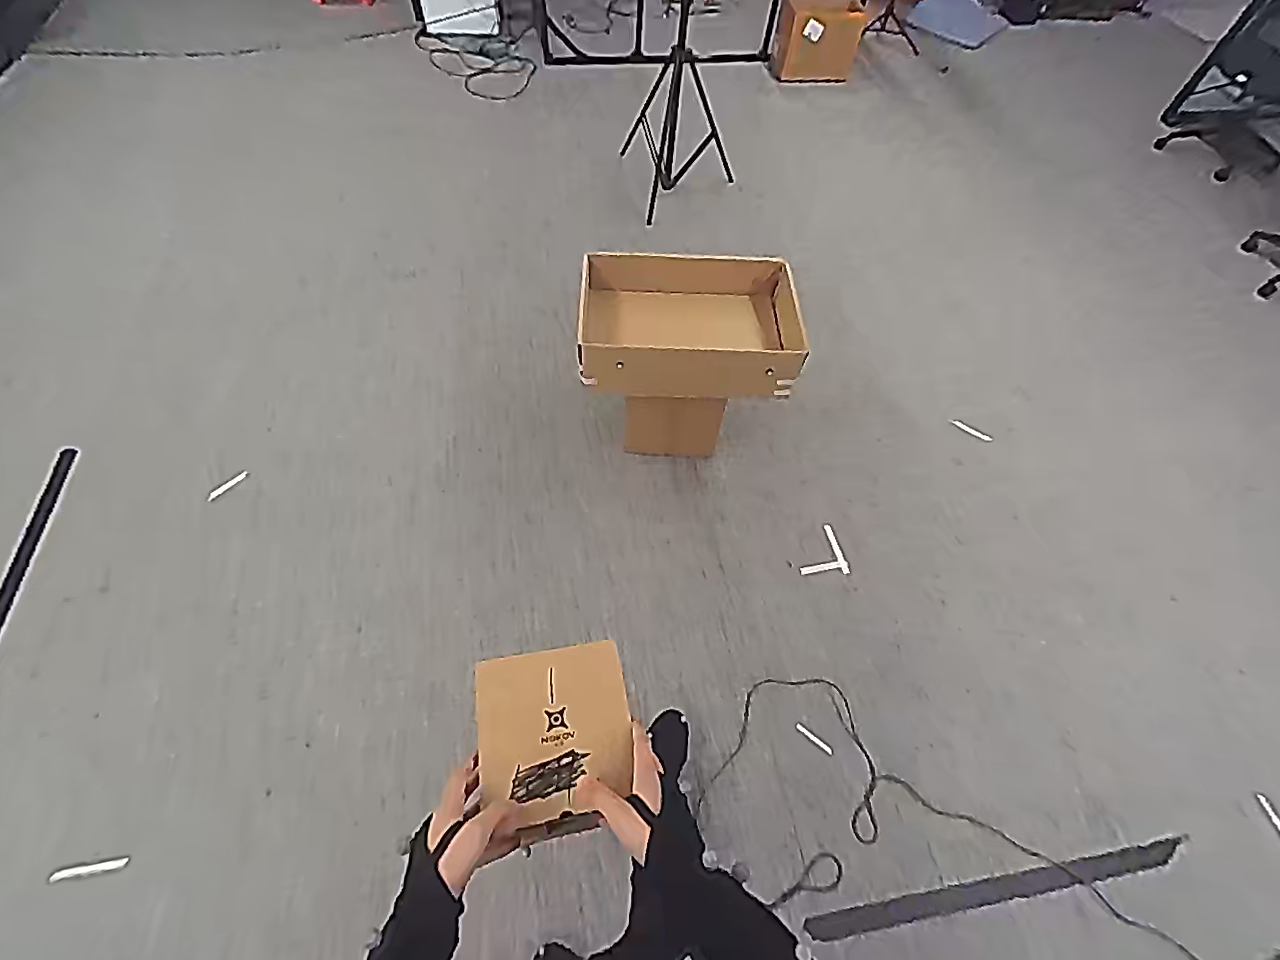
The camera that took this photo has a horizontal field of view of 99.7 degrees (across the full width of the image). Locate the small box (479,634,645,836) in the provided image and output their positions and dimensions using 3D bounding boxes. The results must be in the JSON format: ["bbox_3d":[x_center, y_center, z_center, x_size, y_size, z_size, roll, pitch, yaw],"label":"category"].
[{"bbox_3d":[-0.095,0.310,0.649,0.168,0.176,0.179,-6,53,-12],"label":"small box"}]
